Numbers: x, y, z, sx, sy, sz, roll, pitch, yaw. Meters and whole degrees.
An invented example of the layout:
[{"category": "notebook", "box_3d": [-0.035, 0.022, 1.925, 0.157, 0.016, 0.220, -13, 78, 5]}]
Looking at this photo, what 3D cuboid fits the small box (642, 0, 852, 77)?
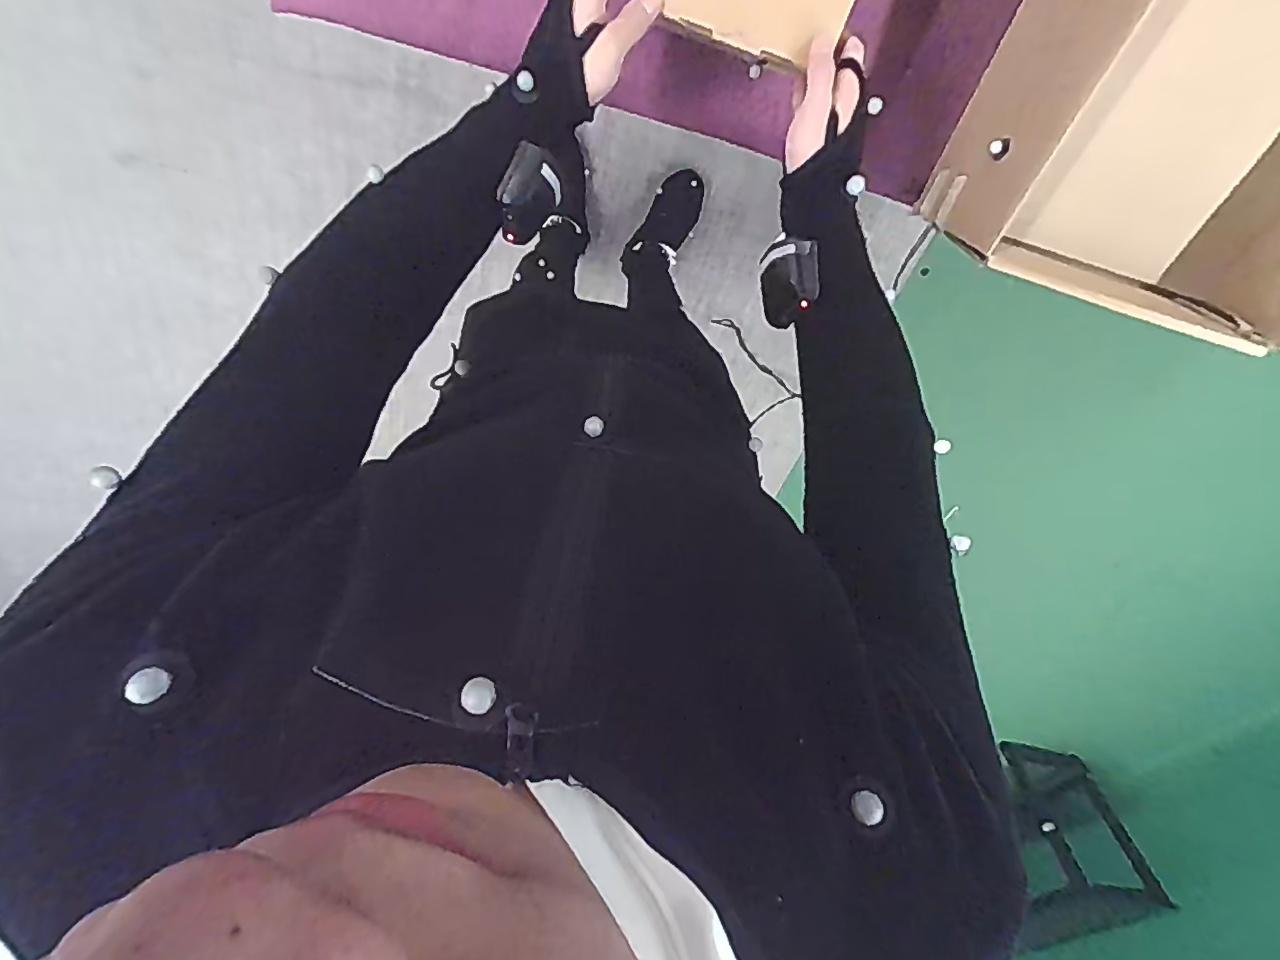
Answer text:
[{"category": "small box", "box_3d": [0.106, -0.482, 0.468, 0.168, 0.176, 0.179, 13, 126, -10]}]
